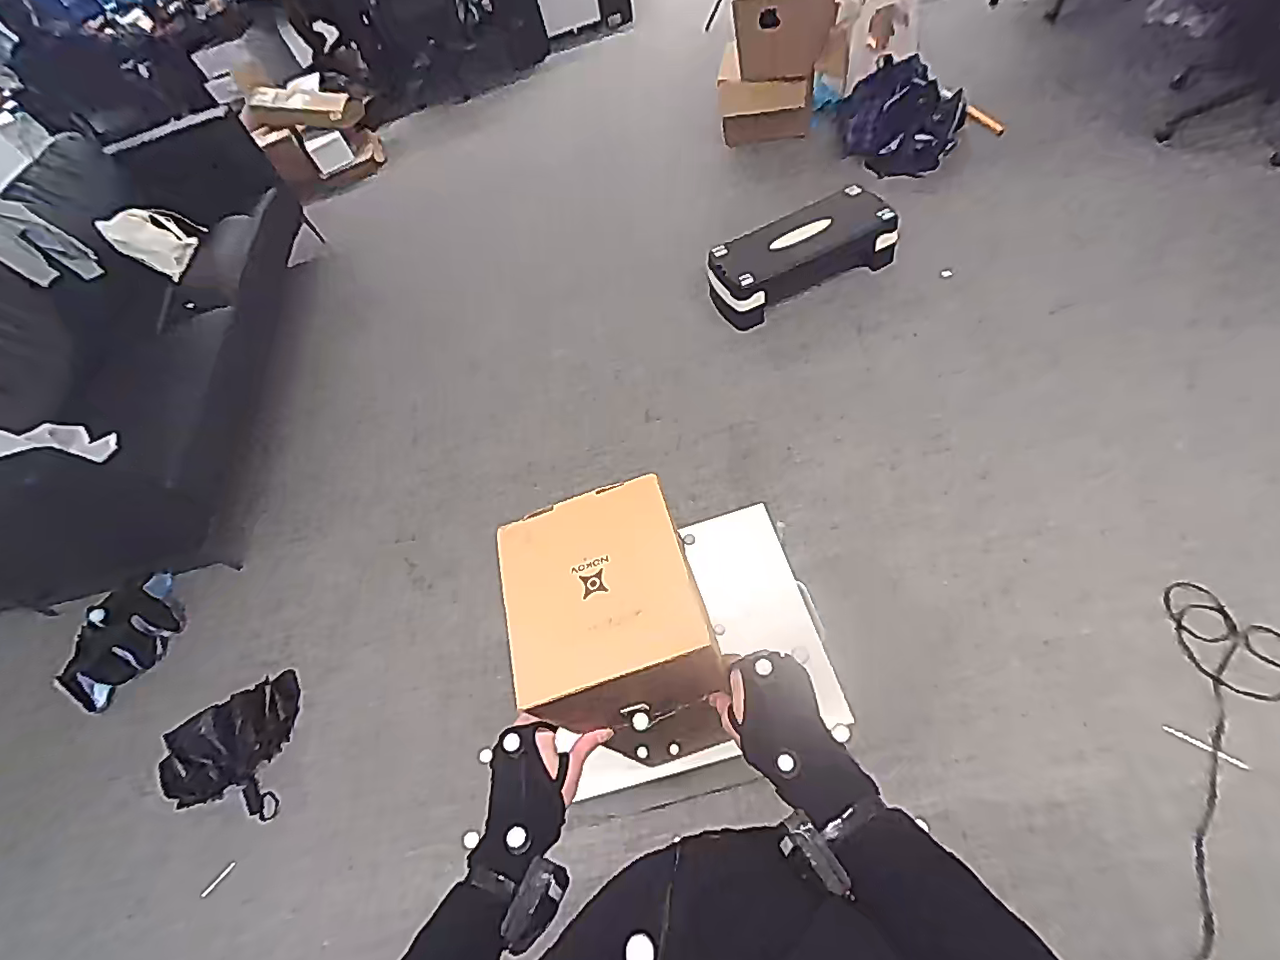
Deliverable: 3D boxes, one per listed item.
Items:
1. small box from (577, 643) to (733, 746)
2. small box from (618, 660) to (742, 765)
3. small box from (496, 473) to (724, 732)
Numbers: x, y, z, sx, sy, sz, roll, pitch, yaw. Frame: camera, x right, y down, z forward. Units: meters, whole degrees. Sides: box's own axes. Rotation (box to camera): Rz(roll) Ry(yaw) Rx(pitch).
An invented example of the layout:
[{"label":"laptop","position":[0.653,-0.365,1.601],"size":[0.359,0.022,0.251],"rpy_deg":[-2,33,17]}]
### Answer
[{"label":"small box","position":[0.009,0.216,0.673],"size":[0.168,0.176,0.179],"rpy_deg":[-20,54,1]},{"label":"small box","position":[0.044,0.303,0.809],"size":[0.168,0.176,0.179],"rpy_deg":[-21,55,1]},{"label":"small box","position":[-0.025,0.128,0.540],"size":[0.168,0.176,0.179],"rpy_deg":[-20,56,2]}]
